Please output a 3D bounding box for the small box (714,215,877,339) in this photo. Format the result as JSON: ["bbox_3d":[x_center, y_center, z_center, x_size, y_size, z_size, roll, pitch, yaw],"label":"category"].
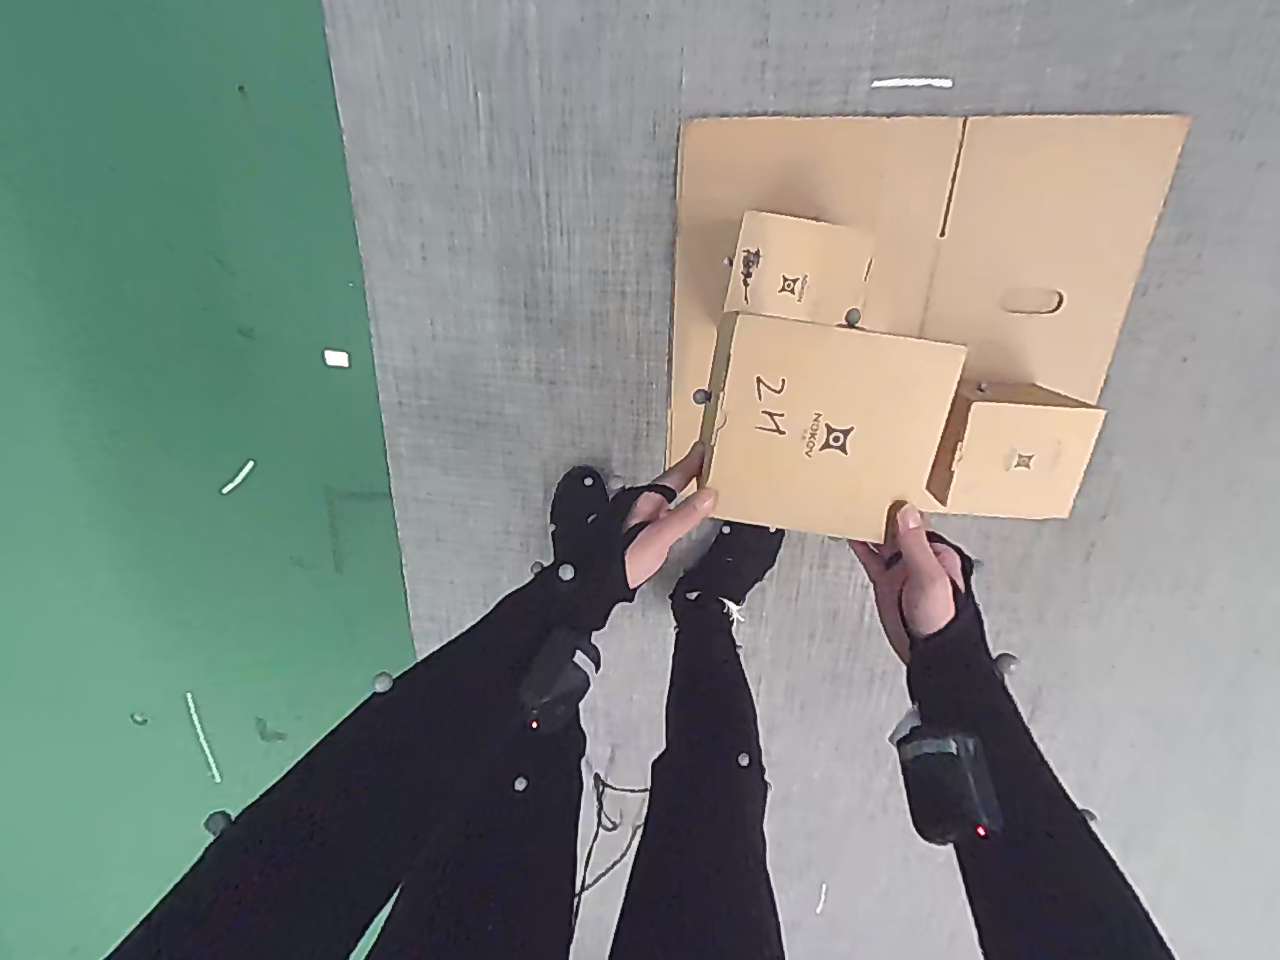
[{"bbox_3d":[0.212,-0.279,0.794,0.179,0.176,0.168,11,111,2],"label":"small box"}]

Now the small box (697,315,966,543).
[{"bbox_3d":[0.154,-0.059,0.505,0.179,0.176,0.168,9,107,2],"label":"small box"}]

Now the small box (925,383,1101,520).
[{"bbox_3d":[0.545,-0.053,0.843,0.179,0.176,0.168,5,112,5],"label":"small box"}]
